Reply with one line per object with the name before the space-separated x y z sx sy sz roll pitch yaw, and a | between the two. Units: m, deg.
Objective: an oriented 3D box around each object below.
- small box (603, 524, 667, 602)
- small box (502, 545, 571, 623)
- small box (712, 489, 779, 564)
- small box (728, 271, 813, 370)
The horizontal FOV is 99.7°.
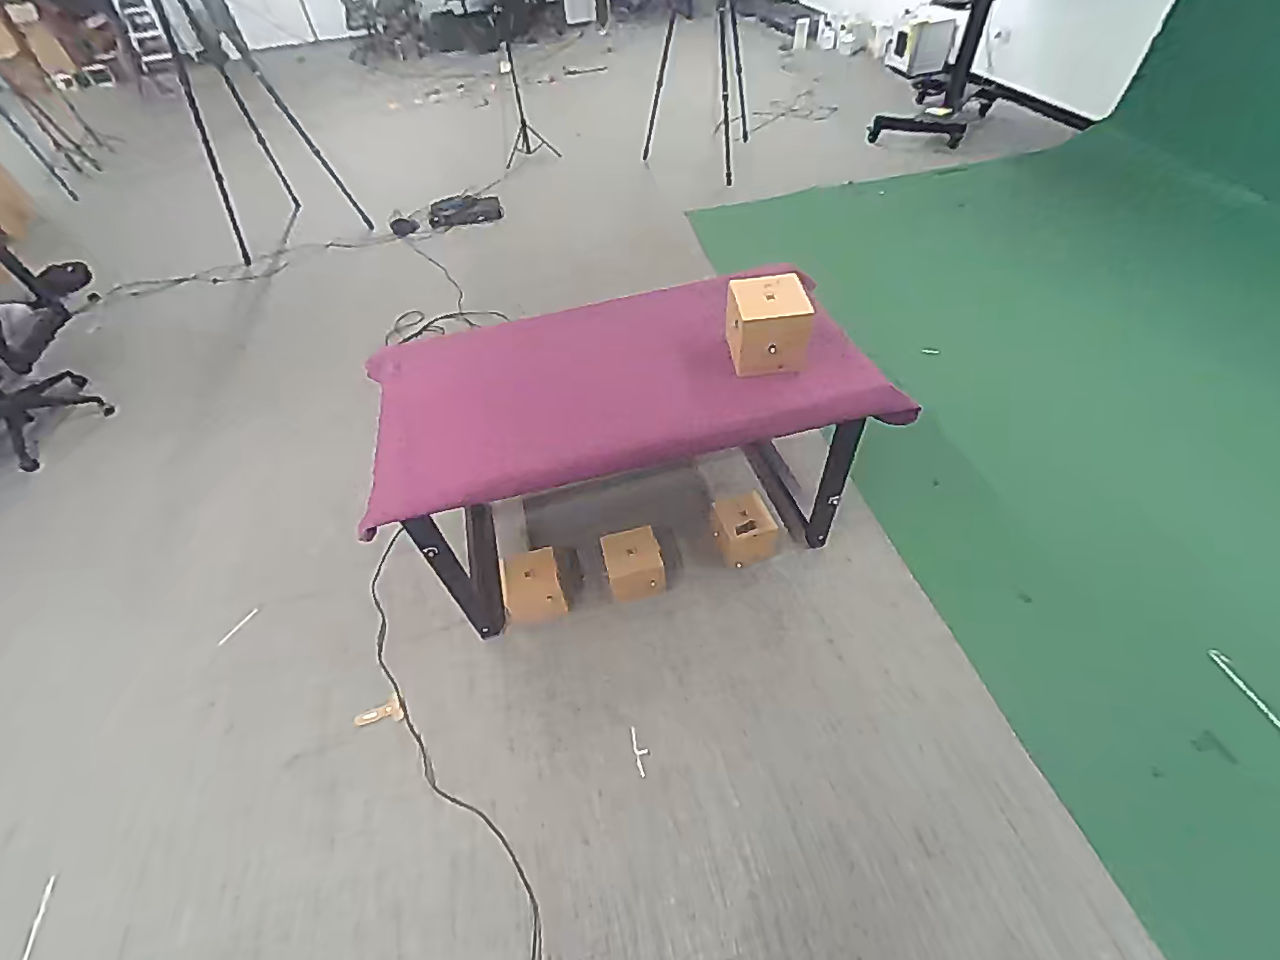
small box | -0.014 0.273 1.765 0.179 0.176 0.168 -14 50 -4
small box | -0.332 0.340 1.743 0.179 0.176 0.168 -14 50 -6
small box | 0.351 0.164 1.815 0.168 0.176 0.179 -16 50 -8
small box | 0.313 -0.384 1.328 0.168 0.176 0.179 -6 50 1
